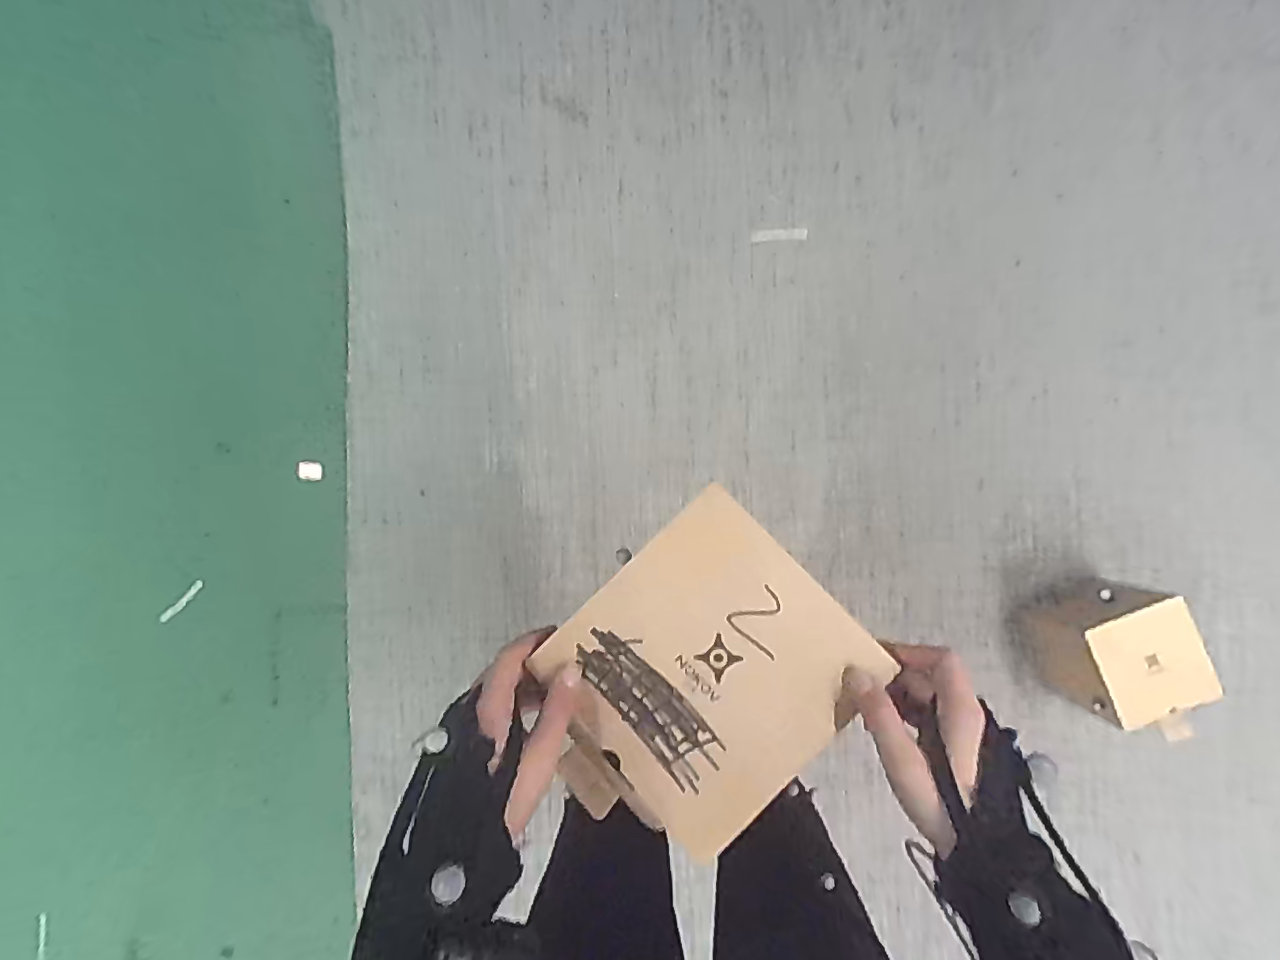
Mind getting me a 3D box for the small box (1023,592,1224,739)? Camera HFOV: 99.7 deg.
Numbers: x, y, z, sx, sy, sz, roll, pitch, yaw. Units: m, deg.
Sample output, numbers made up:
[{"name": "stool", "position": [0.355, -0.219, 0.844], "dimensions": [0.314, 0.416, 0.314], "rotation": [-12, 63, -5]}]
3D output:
[{"name": "small box", "position": [0.818, 0.306, 0.938], "dimensions": [0.168, 0.176, 0.179], "rotation": [-22, 88, 2]}]
